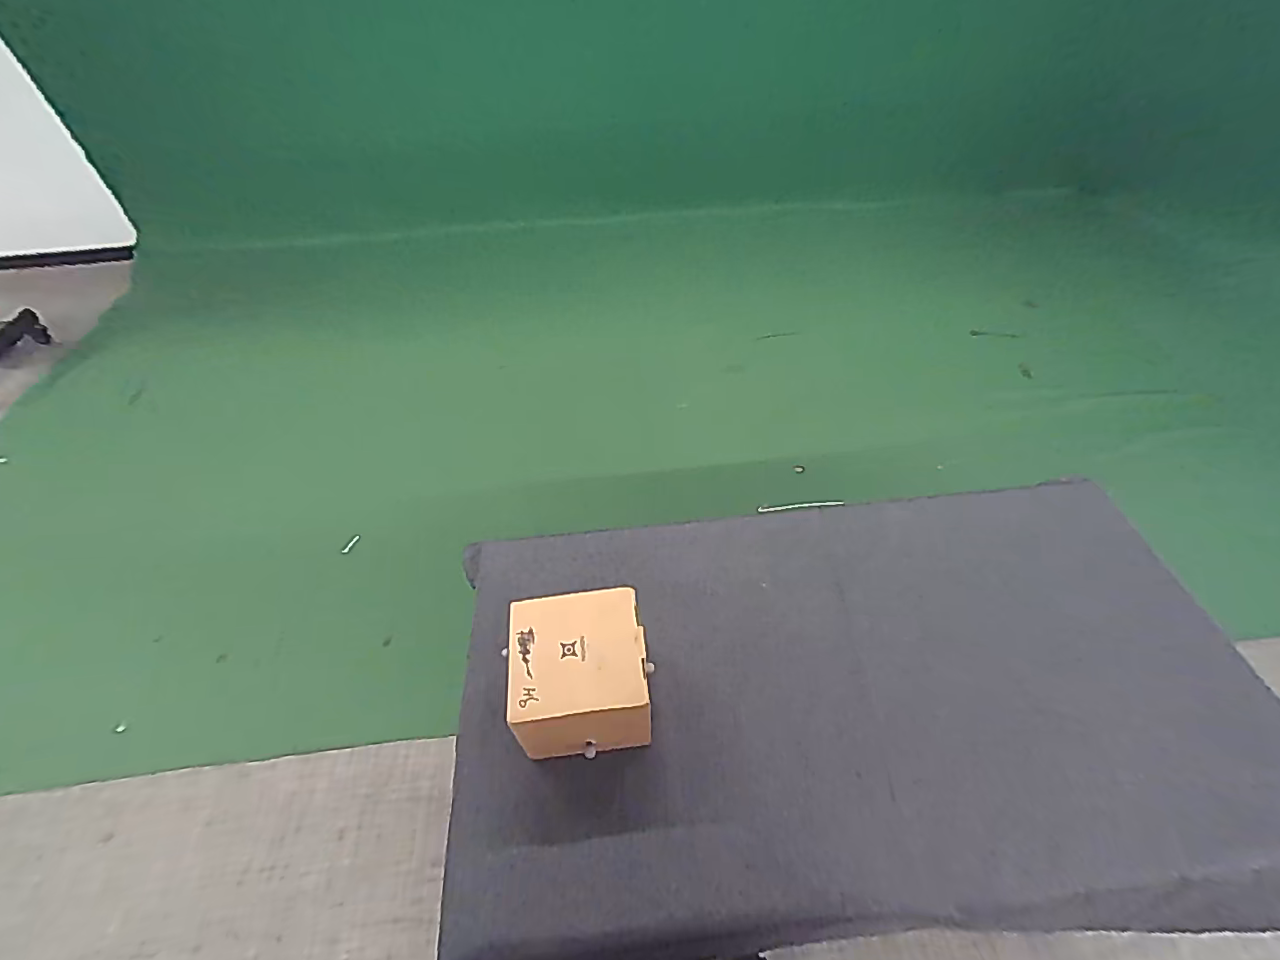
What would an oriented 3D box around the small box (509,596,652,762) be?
[{"bbox_3d":[-0.081,0.284,0.768,0.179,0.176,0.168,-5,49,-4],"label":"small box"}]
